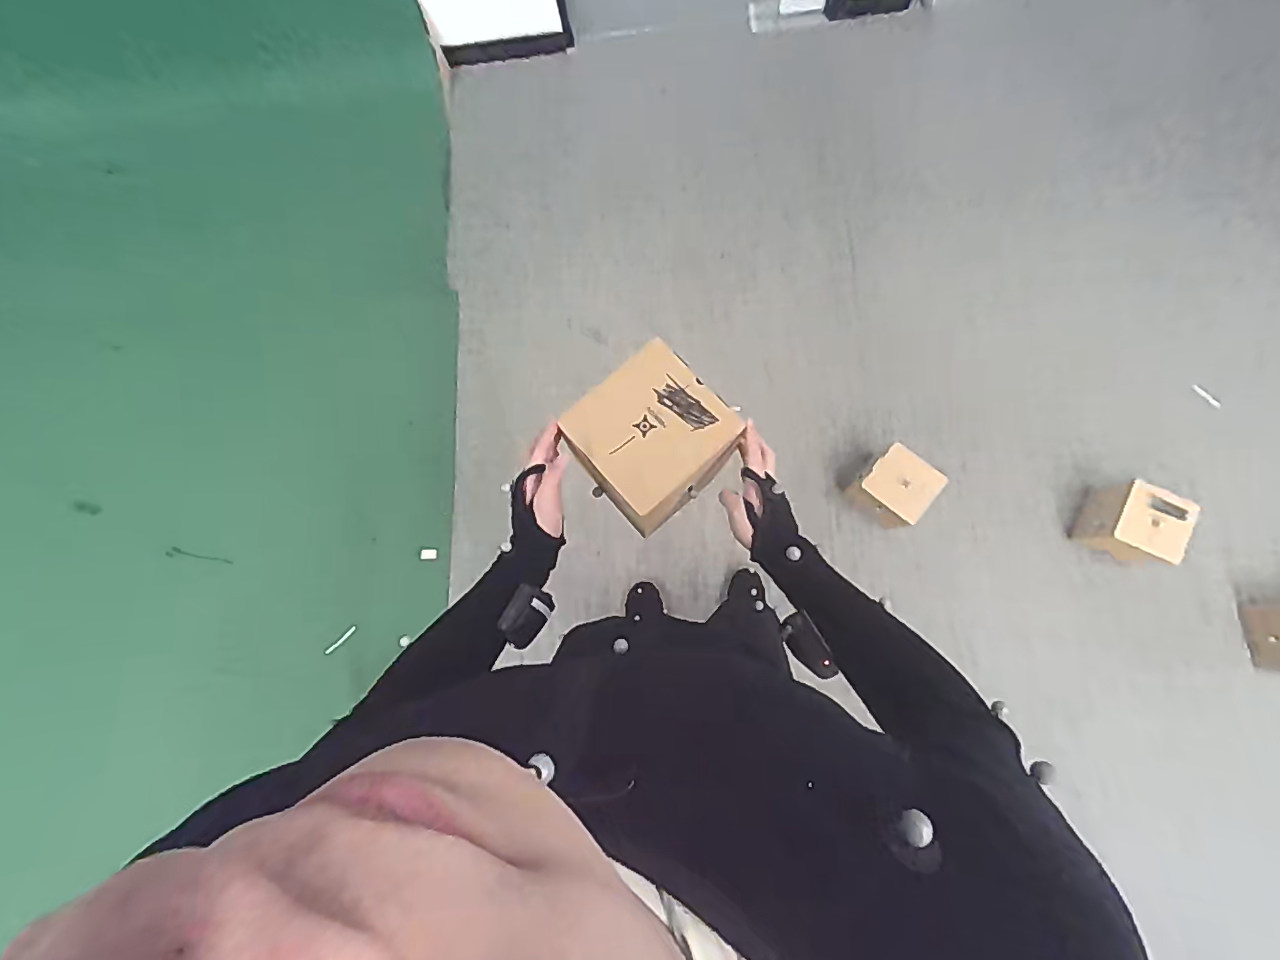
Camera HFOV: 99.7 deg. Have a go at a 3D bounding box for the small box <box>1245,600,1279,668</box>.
[{"bbox_3d":[1.725,0.397,1.383,0.179,0.176,0.168,-6,80,4],"label":"small box"}]

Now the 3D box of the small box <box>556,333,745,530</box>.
[{"bbox_3d":[0.014,-0.056,0.732,0.179,0.176,0.168,-41,77,-8],"label":"small box"}]
